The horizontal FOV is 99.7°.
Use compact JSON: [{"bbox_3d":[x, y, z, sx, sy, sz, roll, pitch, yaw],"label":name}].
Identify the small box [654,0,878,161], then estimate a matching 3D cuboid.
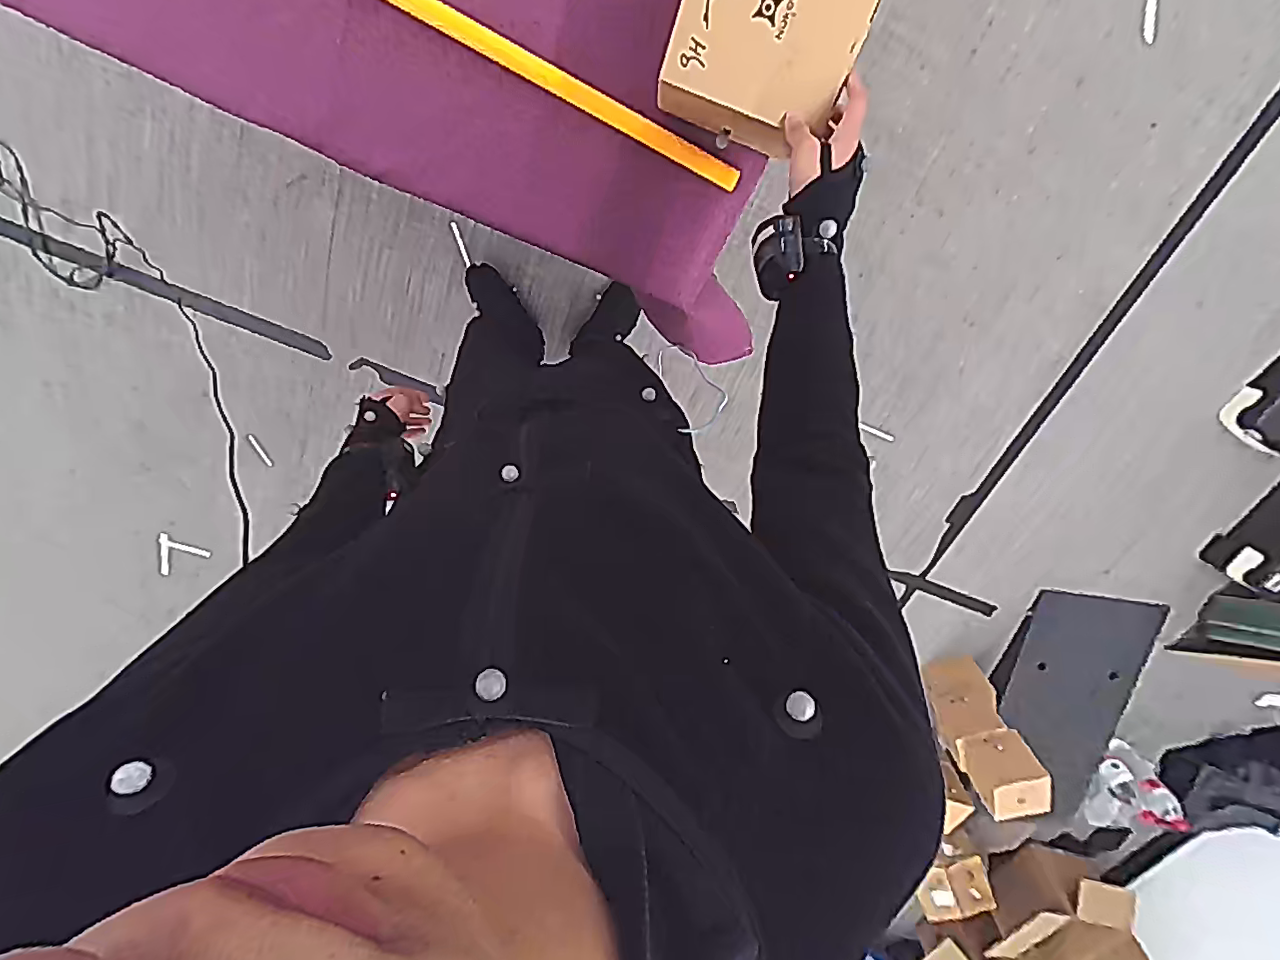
[{"bbox_3d":[0.123,-0.466,0.587,0.179,0.176,0.168,18,116,-7],"label":"small box"}]
